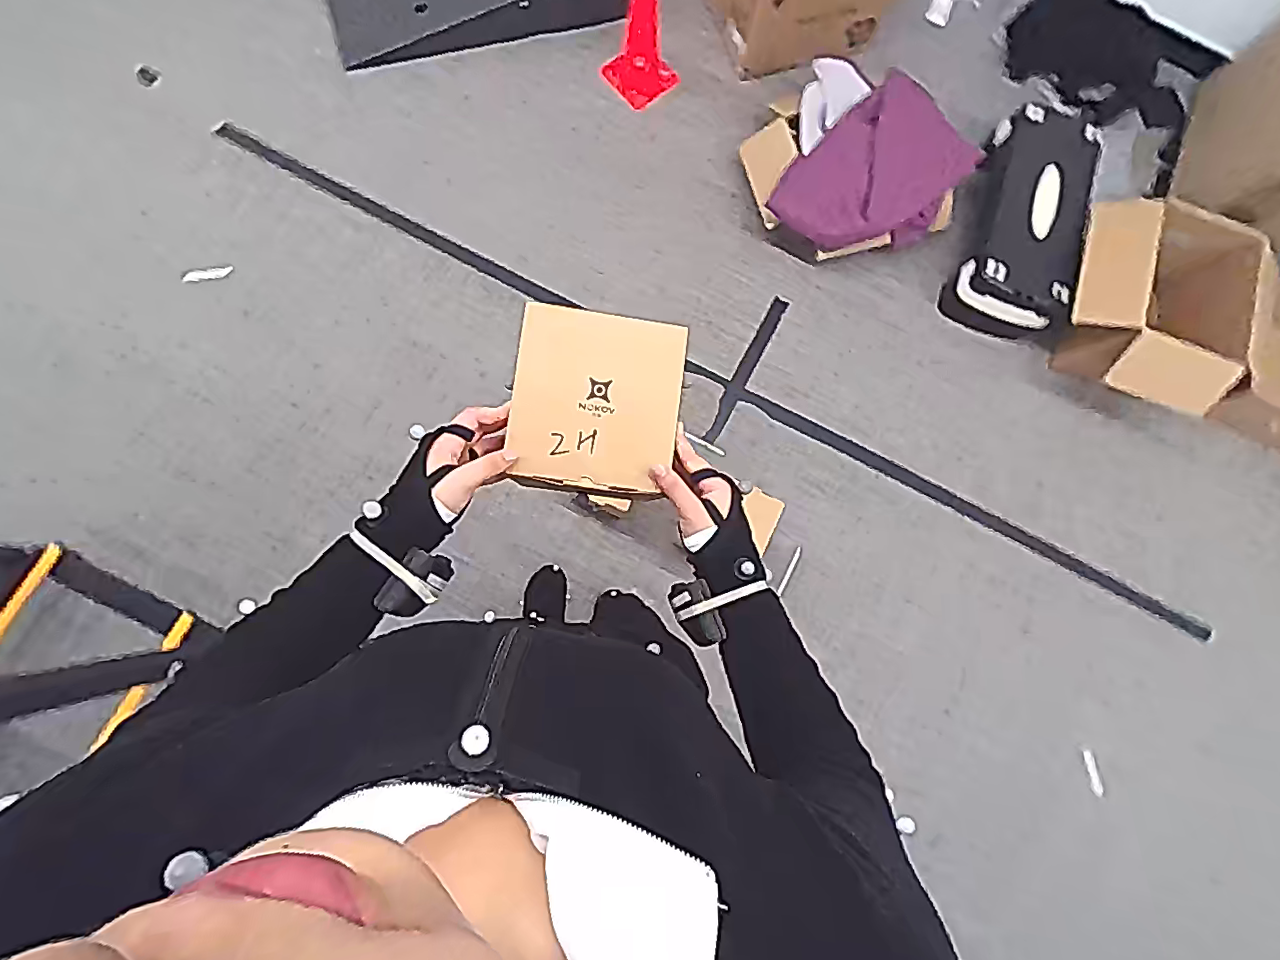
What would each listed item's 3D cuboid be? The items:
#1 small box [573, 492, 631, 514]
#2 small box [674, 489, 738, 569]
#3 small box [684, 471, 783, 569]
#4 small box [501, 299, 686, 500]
[{"bbox_3d":[-0.085,-0.017,1.472,0.168,0.176,0.179,22,80,0],"label":"small box"},{"bbox_3d":[0.209,0.131,1.473,0.179,0.176,0.168,31,80,-1],"label":"small box"},{"bbox_3d":[0.218,0.102,1.314,0.168,0.176,0.179,26,81,1],"label":"small box"},{"bbox_3d":[-0.053,-0.076,0.611,0.168,0.176,0.179,7,85,-6],"label":"small box"}]
